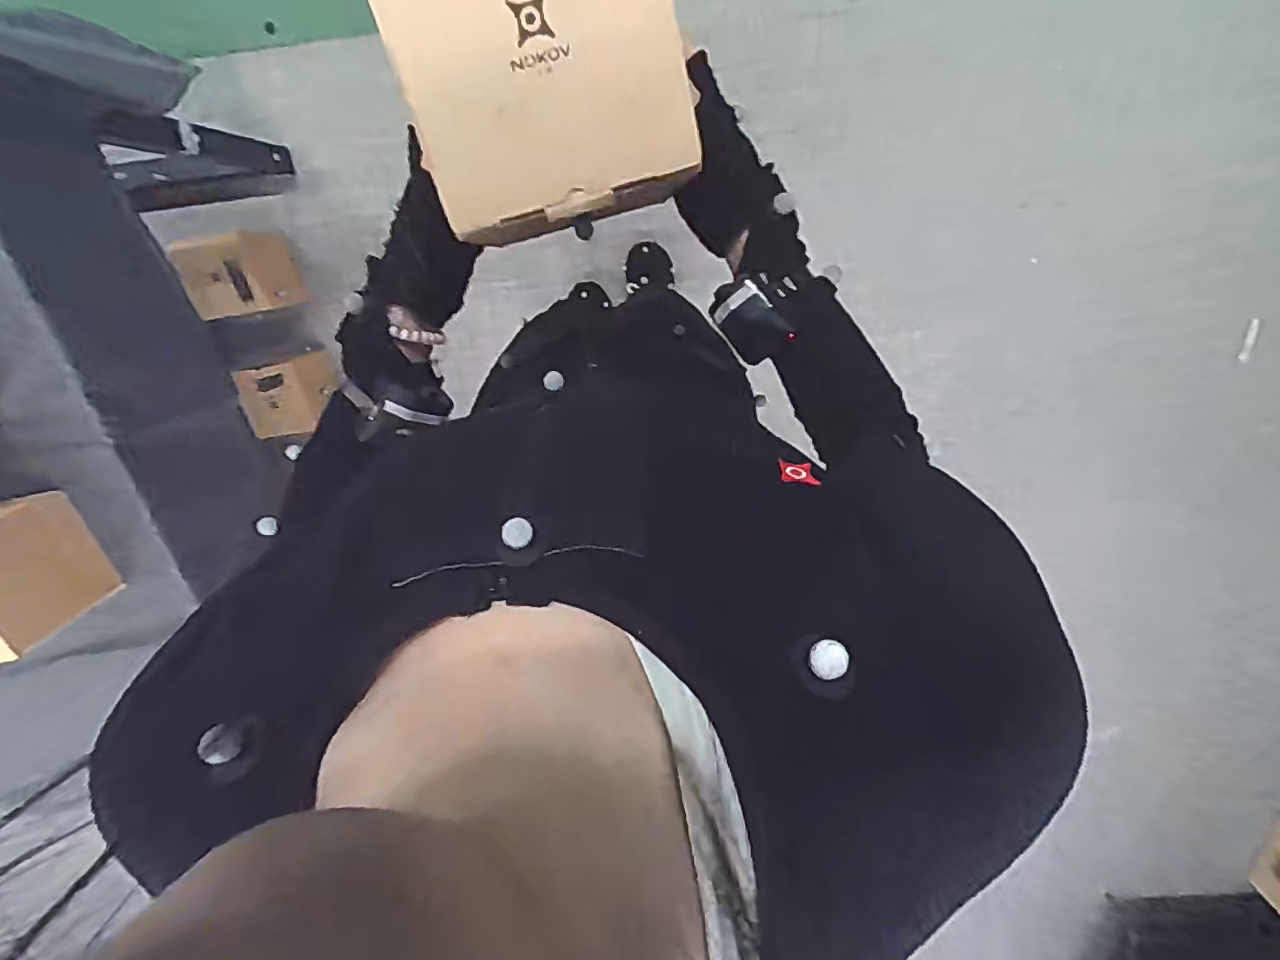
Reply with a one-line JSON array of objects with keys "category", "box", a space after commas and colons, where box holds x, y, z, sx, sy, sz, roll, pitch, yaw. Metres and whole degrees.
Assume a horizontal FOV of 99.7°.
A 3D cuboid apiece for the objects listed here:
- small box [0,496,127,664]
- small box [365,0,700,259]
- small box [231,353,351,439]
[{"category": "small box", "box": [-0.911, 0.144, 0.771, 0.168, 0.176, 0.179, -10, 113, 6]}, {"category": "small box", "box": [-0.065, -0.272, 0.386, 0.168, 0.176, 0.179, -16, 113, 2]}, {"category": "small box", "box": [-0.891, -0.225, 1.399, 0.168, 0.176, 0.179, -7, 115, 4]}]
